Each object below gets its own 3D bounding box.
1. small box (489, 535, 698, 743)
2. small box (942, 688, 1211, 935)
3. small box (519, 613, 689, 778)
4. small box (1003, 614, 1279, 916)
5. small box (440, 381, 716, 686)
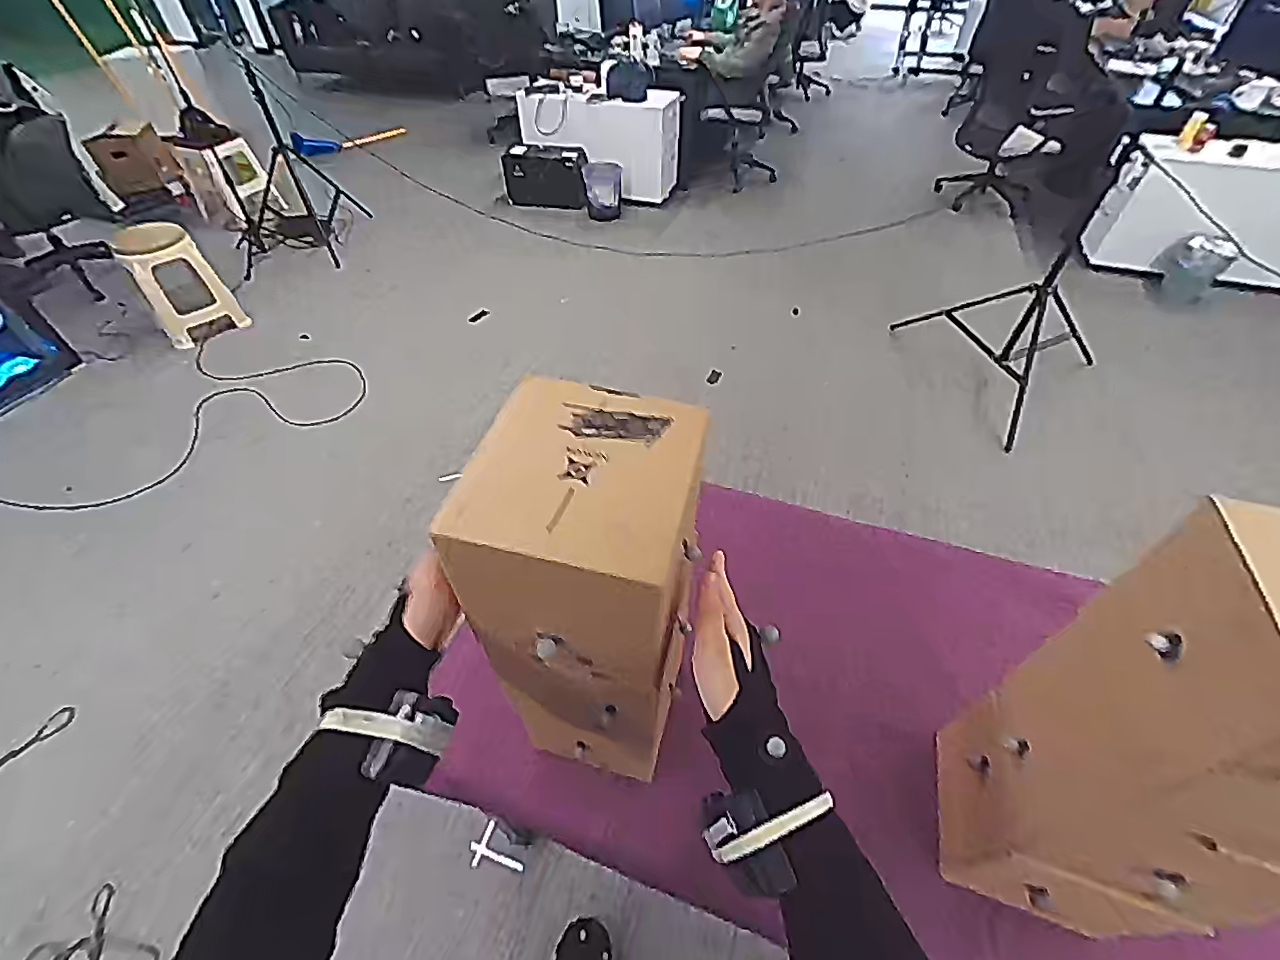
[{"bbox_3d":[-0.038,0.157,0.585,0.168,0.176,0.179,11,47,9],"label":"small box"},{"bbox_3d":[0.460,0.374,0.609,0.168,0.176,0.179,15,48,13],"label":"small box"},{"bbox_3d":[-0.037,0.261,0.709,0.168,0.176,0.179,12,48,10],"label":"small box"},{"bbox_3d":[0.462,0.259,0.493,0.168,0.176,0.179,15,49,14],"label":"small box"},{"bbox_3d":[-0.039,0.045,0.463,0.168,0.176,0.179,11,49,9],"label":"small box"}]
